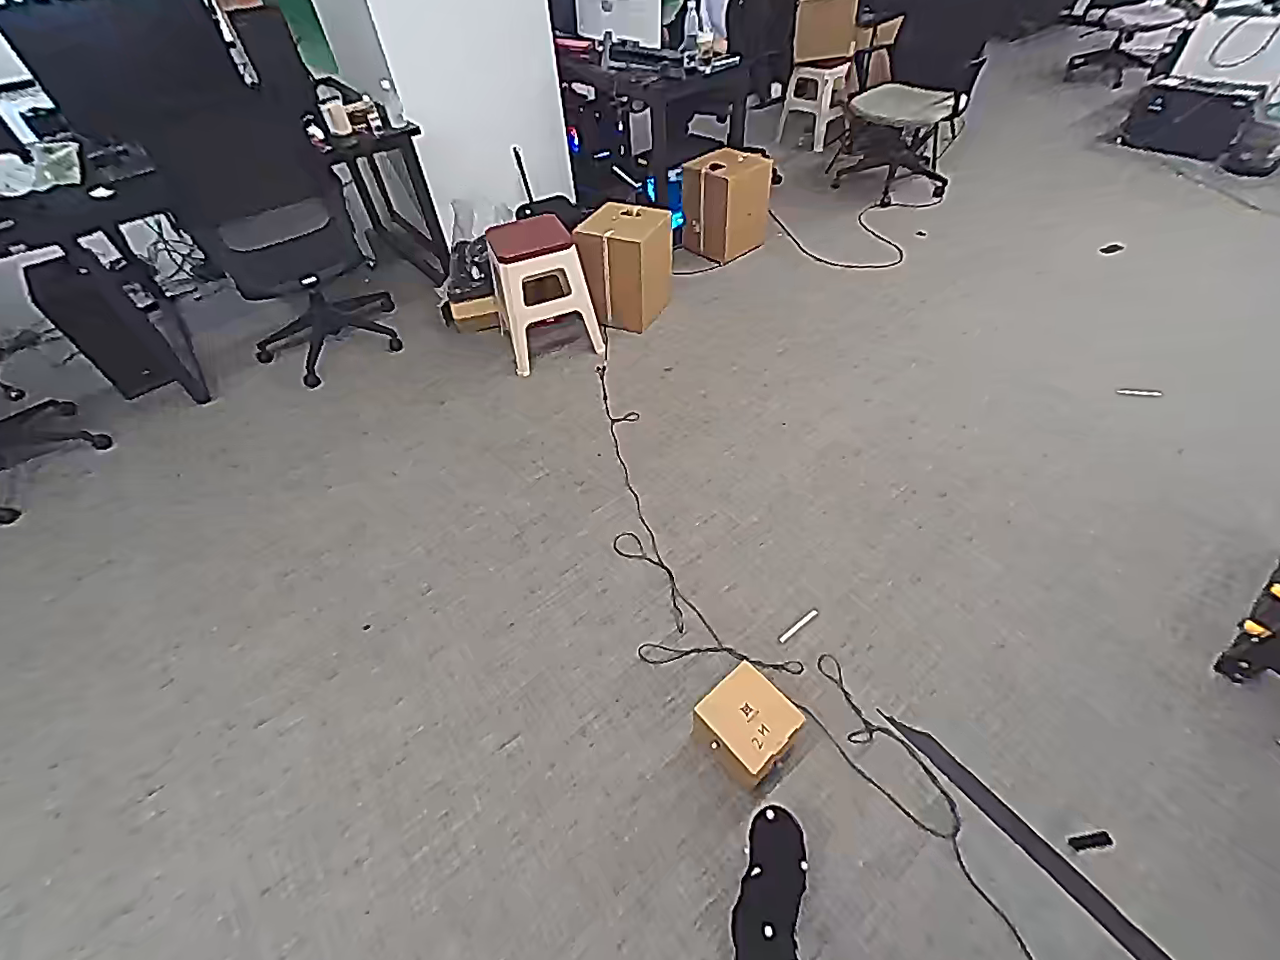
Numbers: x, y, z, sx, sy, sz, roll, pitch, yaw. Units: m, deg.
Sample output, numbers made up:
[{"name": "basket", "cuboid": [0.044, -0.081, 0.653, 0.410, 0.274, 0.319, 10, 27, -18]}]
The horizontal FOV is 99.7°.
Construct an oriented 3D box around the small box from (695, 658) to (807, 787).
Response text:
[{"name": "small box", "cuboid": [0.235, 0.538, 1.192, 0.168, 0.176, 0.179, -35, 55, -22]}]
